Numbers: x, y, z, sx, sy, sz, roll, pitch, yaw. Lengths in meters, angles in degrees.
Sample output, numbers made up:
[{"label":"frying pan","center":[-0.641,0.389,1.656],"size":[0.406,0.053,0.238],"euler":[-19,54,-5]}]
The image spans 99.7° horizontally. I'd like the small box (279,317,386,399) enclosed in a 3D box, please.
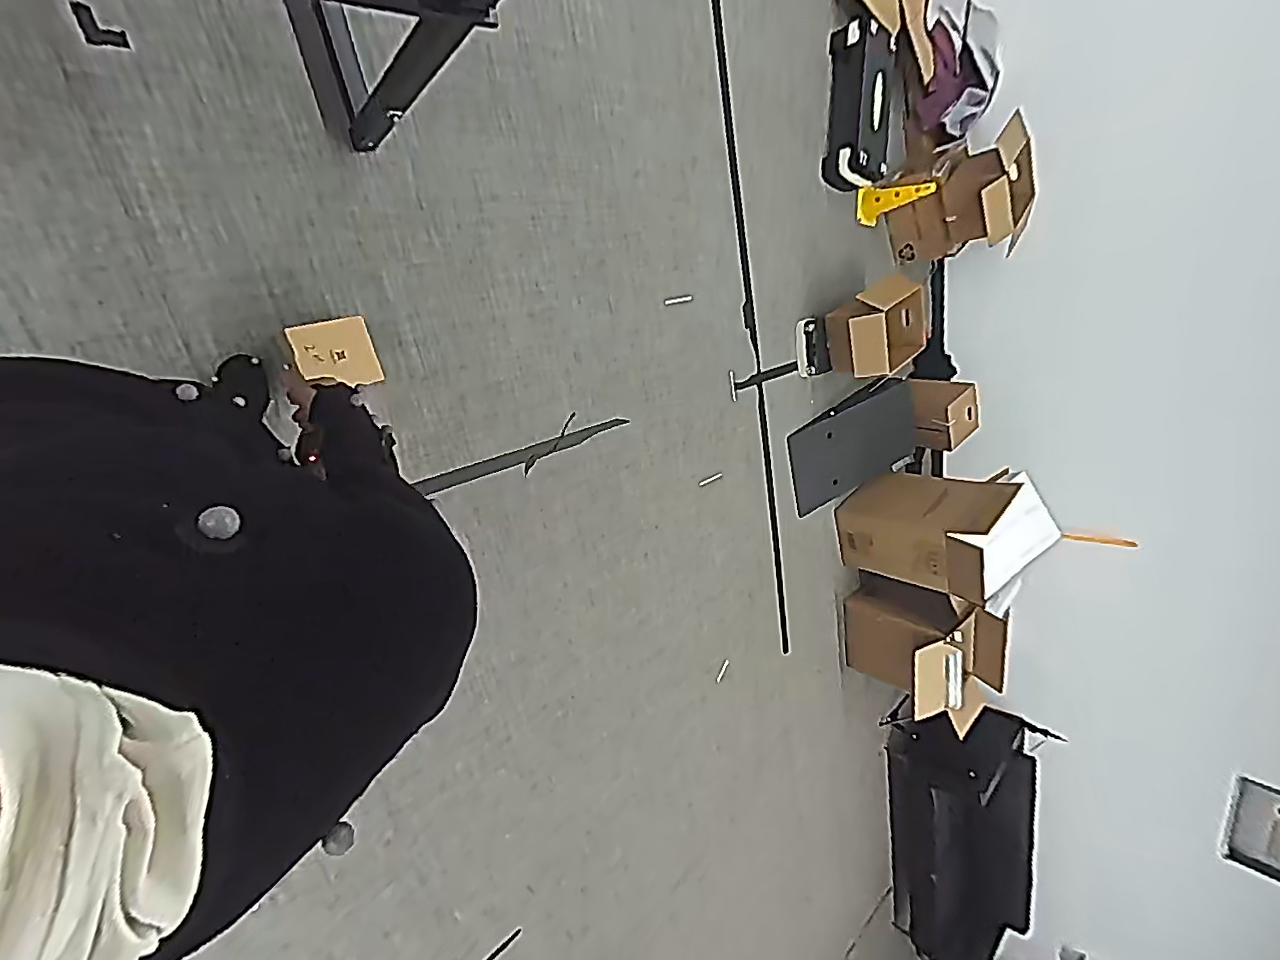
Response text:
[{"label":"small box","center":[-0.779,-0.309,1.366],"size":[0.179,0.176,0.168],"euler":[-26,114,-34]}]
